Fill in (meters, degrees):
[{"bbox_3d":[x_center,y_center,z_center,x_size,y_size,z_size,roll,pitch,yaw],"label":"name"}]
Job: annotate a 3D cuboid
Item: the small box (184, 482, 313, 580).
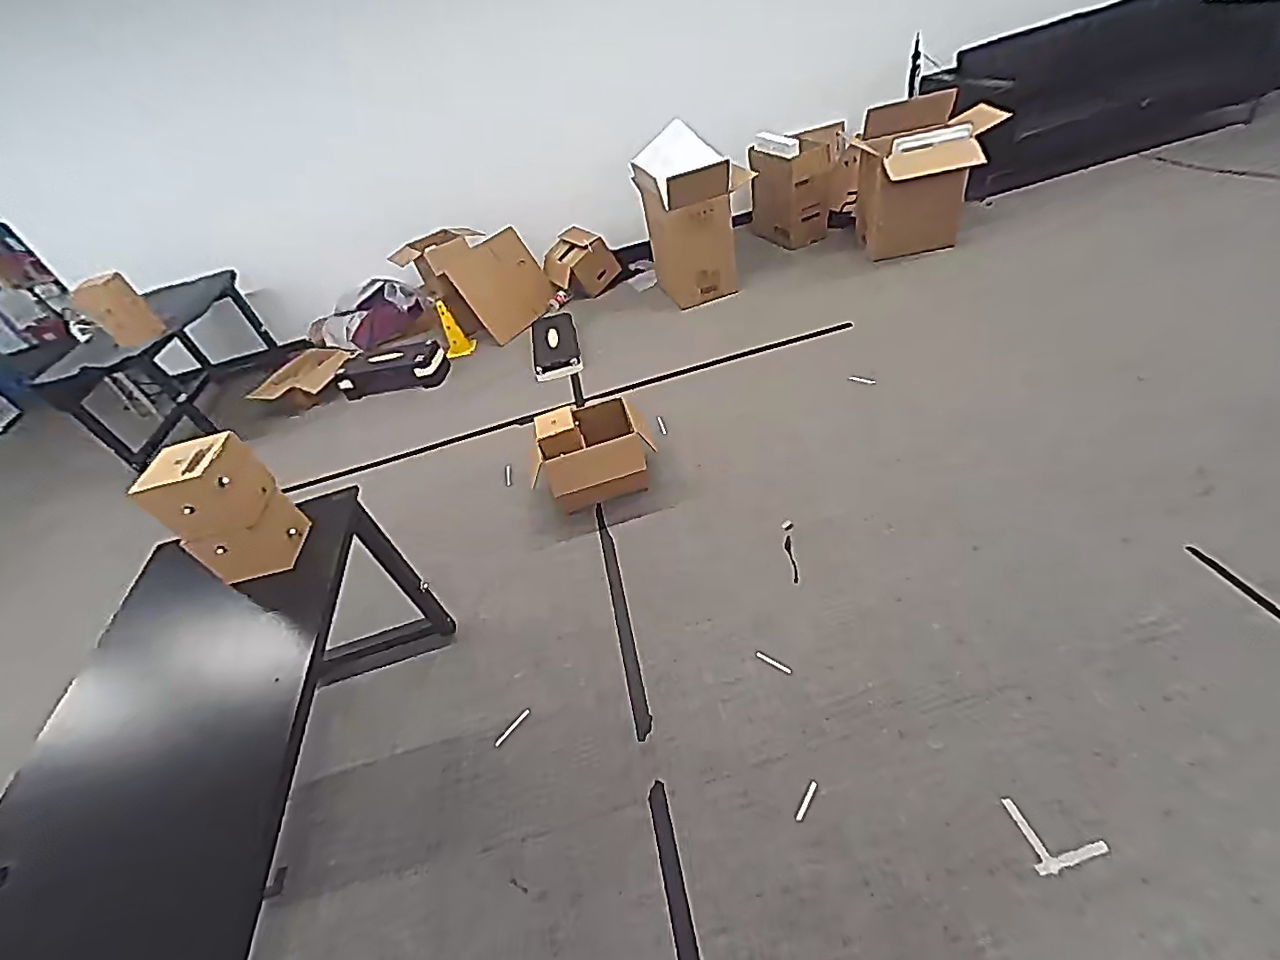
[{"bbox_3d":[-0.994,0.135,1.389,0.179,0.176,0.168,-13,43,2],"label":"small box"}]
